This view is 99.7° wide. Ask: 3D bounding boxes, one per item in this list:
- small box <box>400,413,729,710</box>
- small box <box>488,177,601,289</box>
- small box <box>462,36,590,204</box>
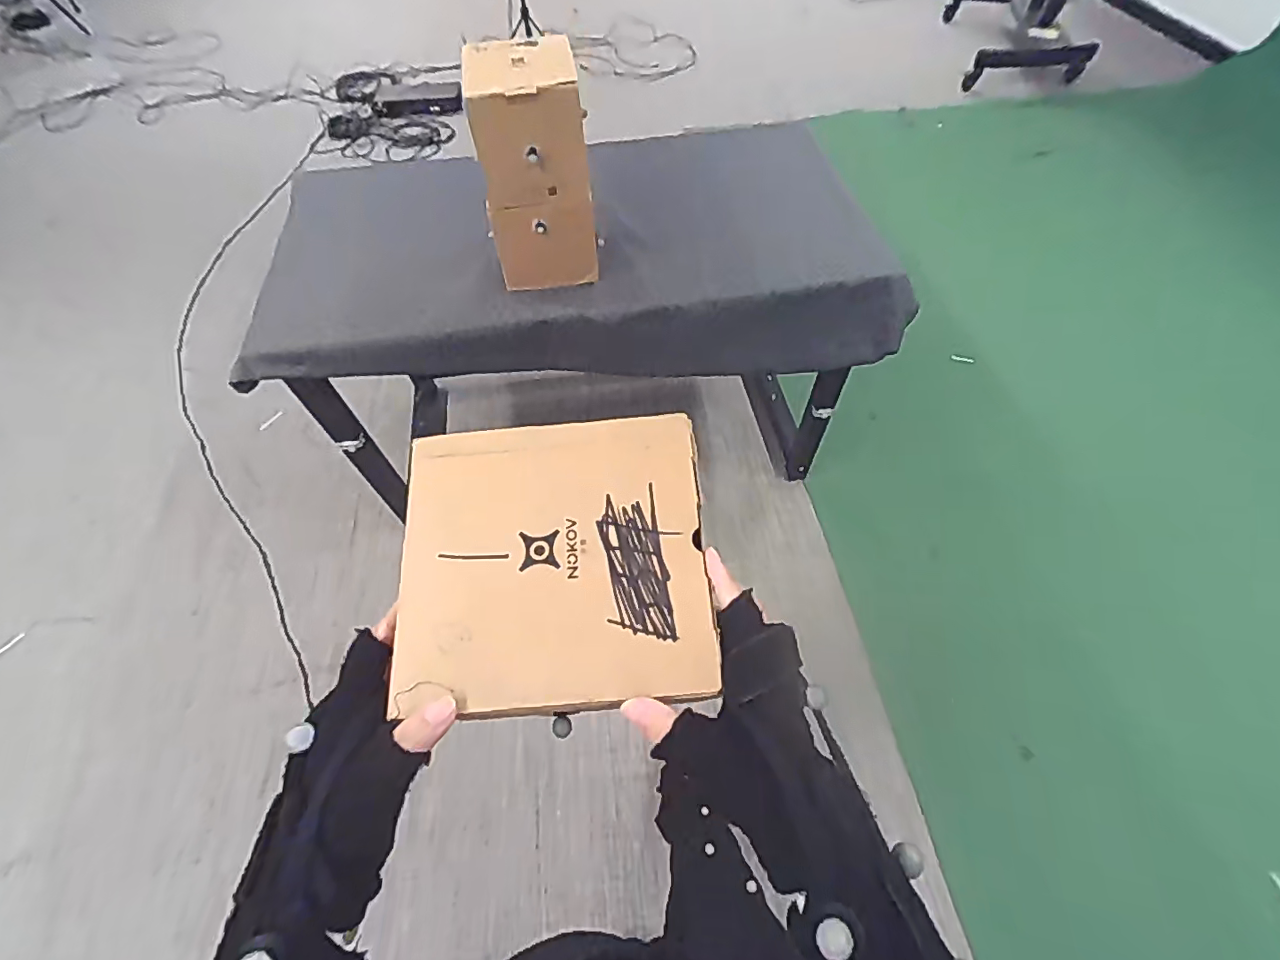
[{"bbox_3d":[-0.043,0.069,0.386,0.179,0.176,0.168,-5,67,0],"label":"small box"},{"bbox_3d":[-0.172,-0.473,0.998,0.179,0.176,0.168,-7,58,-4],"label":"small box"},{"bbox_3d":[-0.176,-0.564,0.862,0.168,0.176,0.179,-9,59,-4],"label":"small box"}]
